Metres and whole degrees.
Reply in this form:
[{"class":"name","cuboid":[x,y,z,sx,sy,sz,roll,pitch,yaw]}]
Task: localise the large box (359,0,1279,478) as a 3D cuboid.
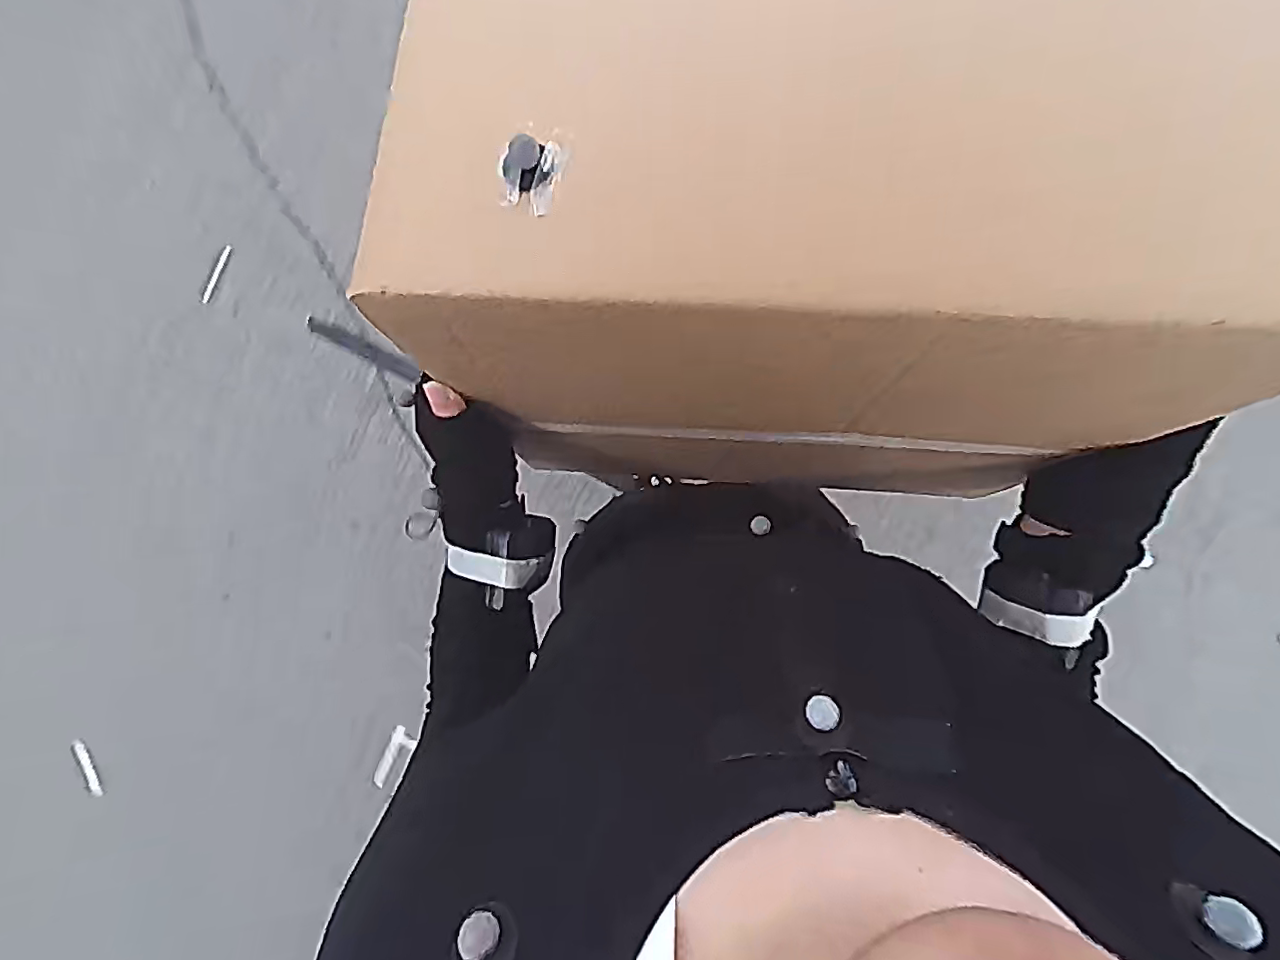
[{"class":"large box","cuboid":[0.091,-0.191,0.391,0.408,0.320,0.320,3,79,4]}]
